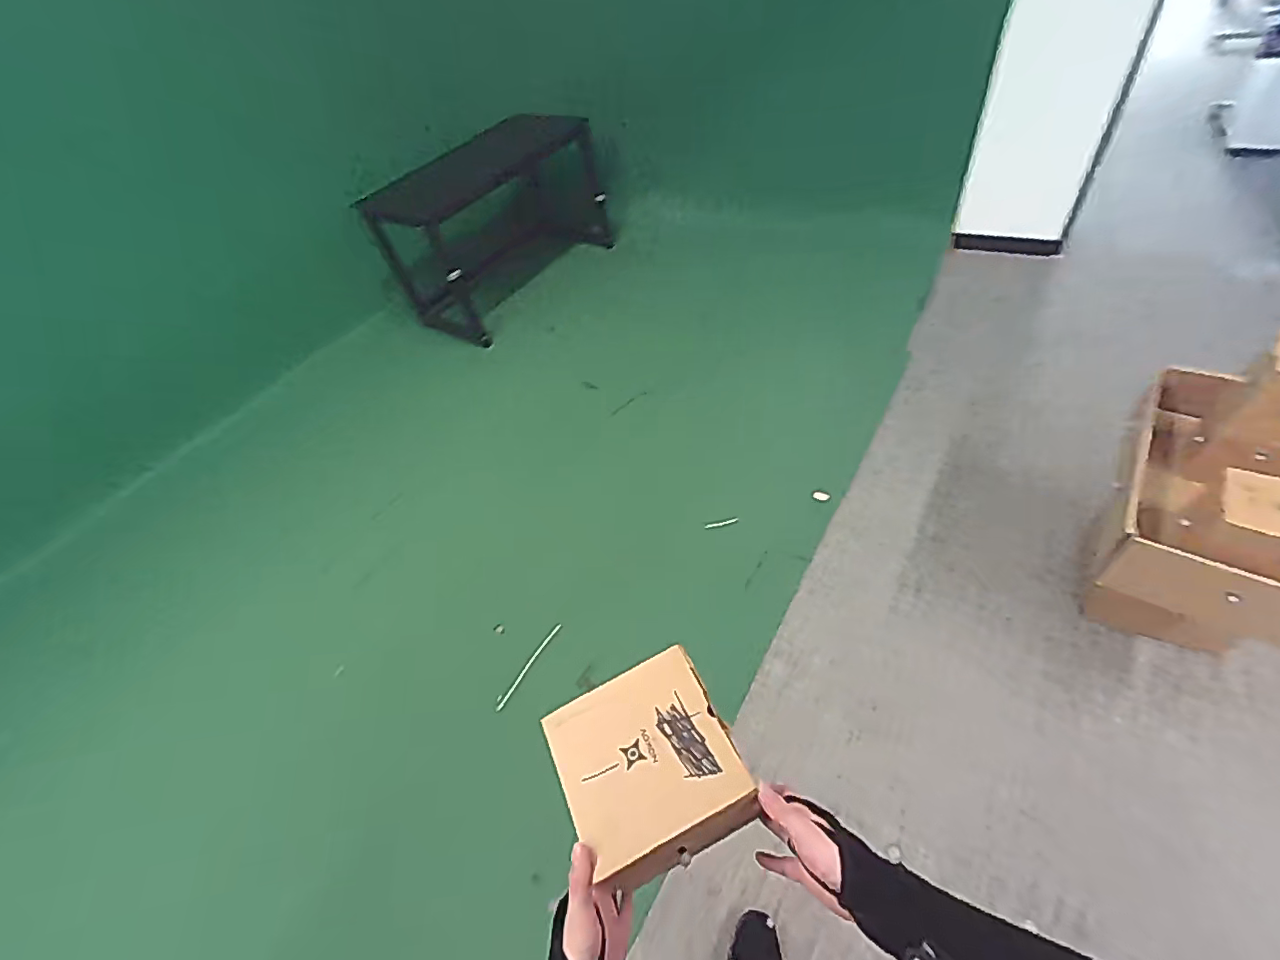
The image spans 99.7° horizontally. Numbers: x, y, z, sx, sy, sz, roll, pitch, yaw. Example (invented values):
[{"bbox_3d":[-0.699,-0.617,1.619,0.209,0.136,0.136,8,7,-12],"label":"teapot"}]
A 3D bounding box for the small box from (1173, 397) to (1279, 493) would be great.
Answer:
[{"bbox_3d":[1.415,-0.061,1.271,0.179,0.176,0.168,26,60,29],"label":"small box"}]

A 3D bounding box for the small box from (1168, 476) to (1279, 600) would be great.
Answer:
[{"bbox_3d":[1.269,0.126,1.133,0.179,0.176,0.168,21,56,28],"label":"small box"}]

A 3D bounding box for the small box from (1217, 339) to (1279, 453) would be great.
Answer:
[{"bbox_3d":[1.392,-0.168,1.149,0.179,0.176,0.168,24,60,30],"label":"small box"}]

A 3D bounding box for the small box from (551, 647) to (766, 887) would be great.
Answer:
[{"bbox_3d":[0.024,0.325,0.611,0.179,0.176,0.168,-26,50,-7],"label":"small box"}]
